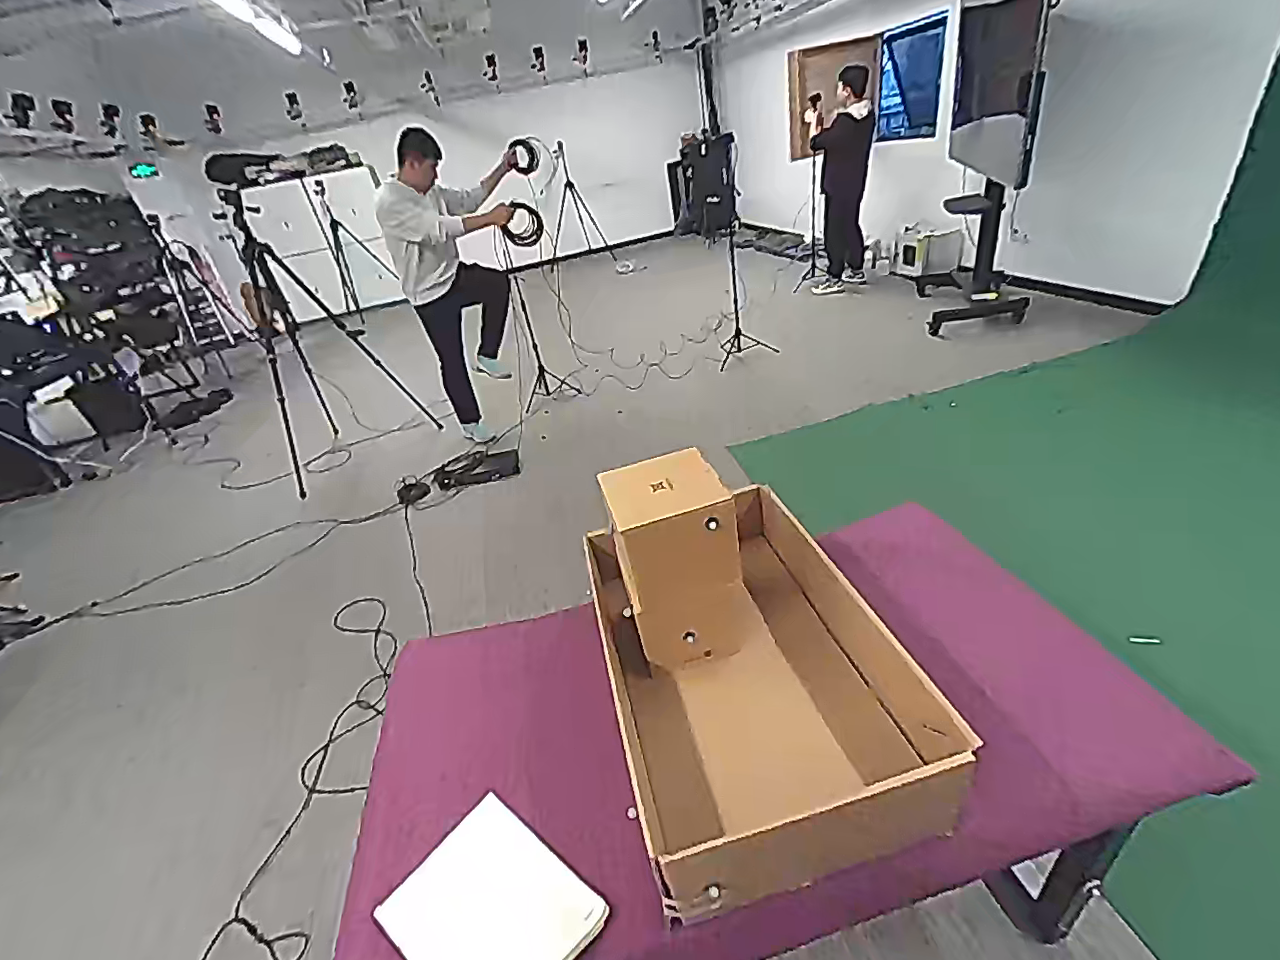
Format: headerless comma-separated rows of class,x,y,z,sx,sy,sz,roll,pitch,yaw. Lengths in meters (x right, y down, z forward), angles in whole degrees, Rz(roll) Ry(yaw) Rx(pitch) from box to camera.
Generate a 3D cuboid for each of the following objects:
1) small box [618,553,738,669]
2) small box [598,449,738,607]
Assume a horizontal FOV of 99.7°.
small box,0.068,0.211,0.963,0.168,0.176,0.179,-15,33,-5
small box,0.046,0.078,0.874,0.179,0.176,0.168,-16,33,-7
